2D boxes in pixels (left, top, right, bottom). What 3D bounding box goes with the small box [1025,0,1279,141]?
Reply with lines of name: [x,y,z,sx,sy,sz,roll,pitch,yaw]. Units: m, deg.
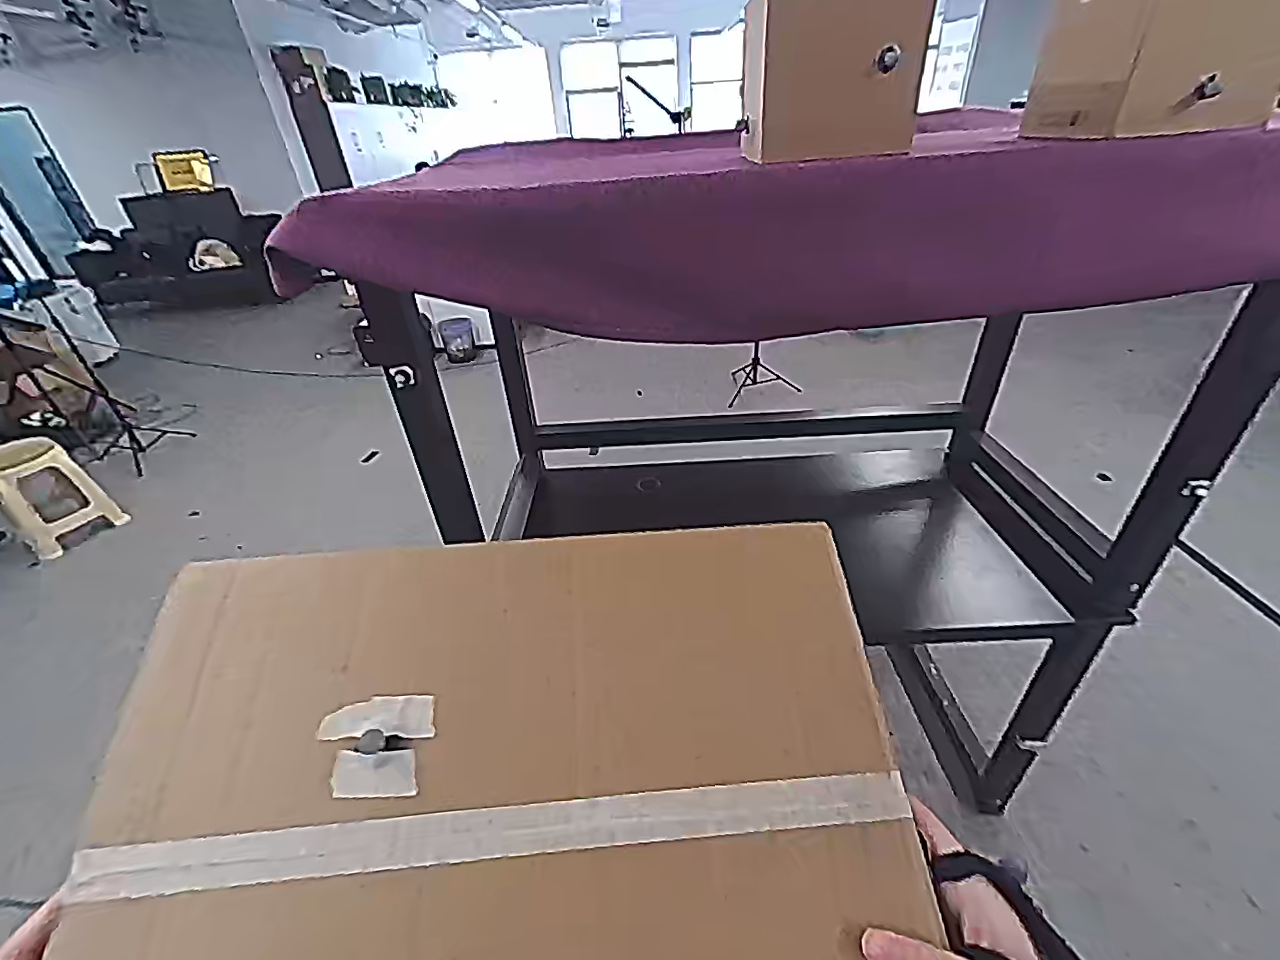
small box: [0.588,-0.490,0.608,0.179,0.176,0.168,-4,32,1]

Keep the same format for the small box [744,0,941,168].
small box: [0.225,-0.483,0.648,0.179,0.176,0.168,-3,33,3]
